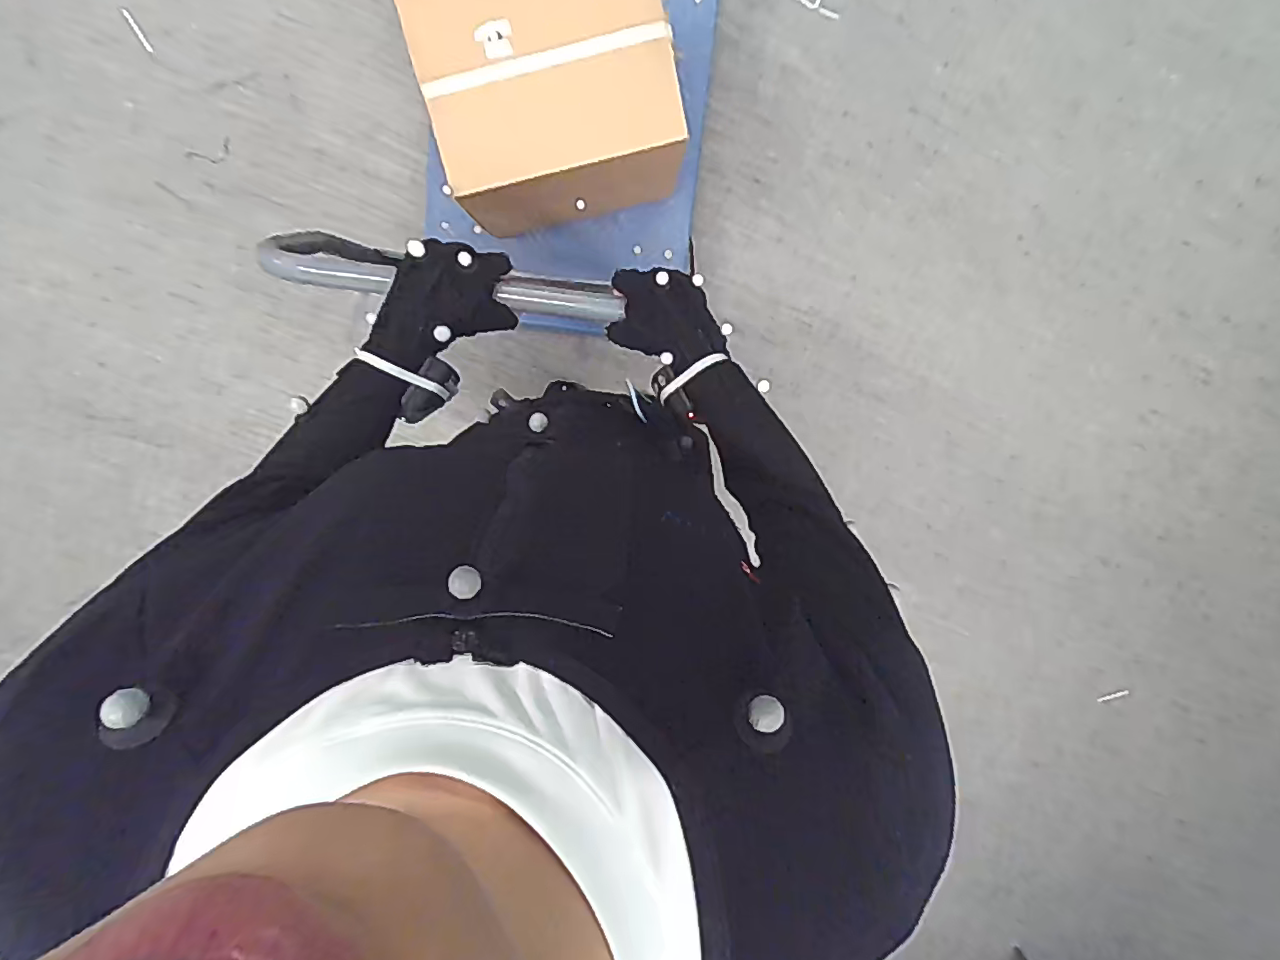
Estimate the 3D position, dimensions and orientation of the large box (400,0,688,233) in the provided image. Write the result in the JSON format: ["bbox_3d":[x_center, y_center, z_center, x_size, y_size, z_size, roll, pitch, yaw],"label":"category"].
[{"bbox_3d":[-0.150,-0.699,1.007,0.408,0.320,0.320,-14,102,2],"label":"large box"}]
